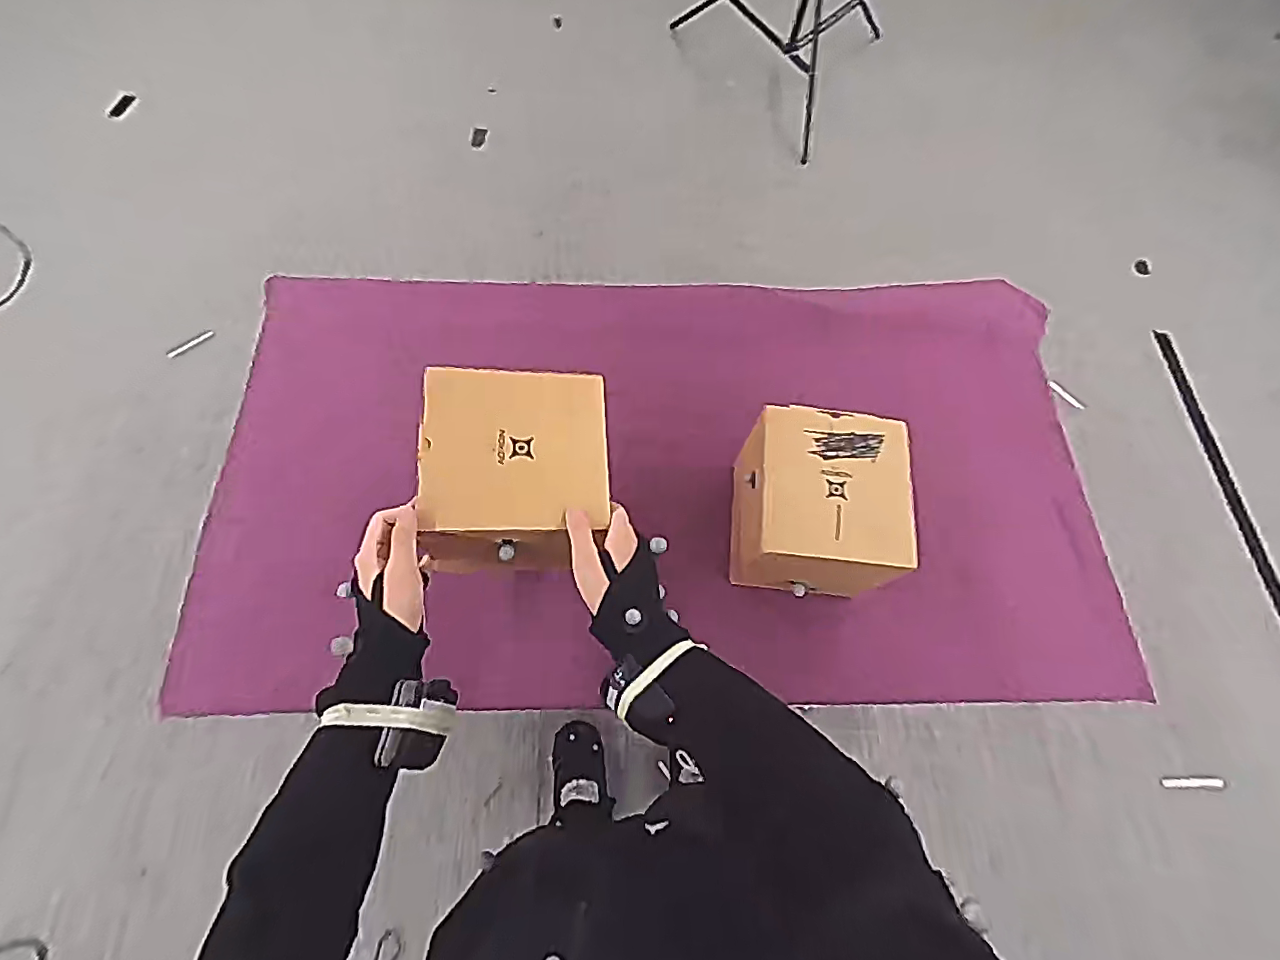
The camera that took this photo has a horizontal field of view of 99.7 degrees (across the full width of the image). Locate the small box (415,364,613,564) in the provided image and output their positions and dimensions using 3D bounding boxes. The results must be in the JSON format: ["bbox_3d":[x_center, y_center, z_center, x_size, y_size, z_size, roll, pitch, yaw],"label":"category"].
[{"bbox_3d":[-0.131,-0.006,0.580,0.179,0.176,0.168,0,71,-12],"label":"small box"}]

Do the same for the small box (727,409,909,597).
[{"bbox_3d":[0.205,0.036,0.671,0.168,0.176,0.179,6,68,0],"label":"small box"}]
